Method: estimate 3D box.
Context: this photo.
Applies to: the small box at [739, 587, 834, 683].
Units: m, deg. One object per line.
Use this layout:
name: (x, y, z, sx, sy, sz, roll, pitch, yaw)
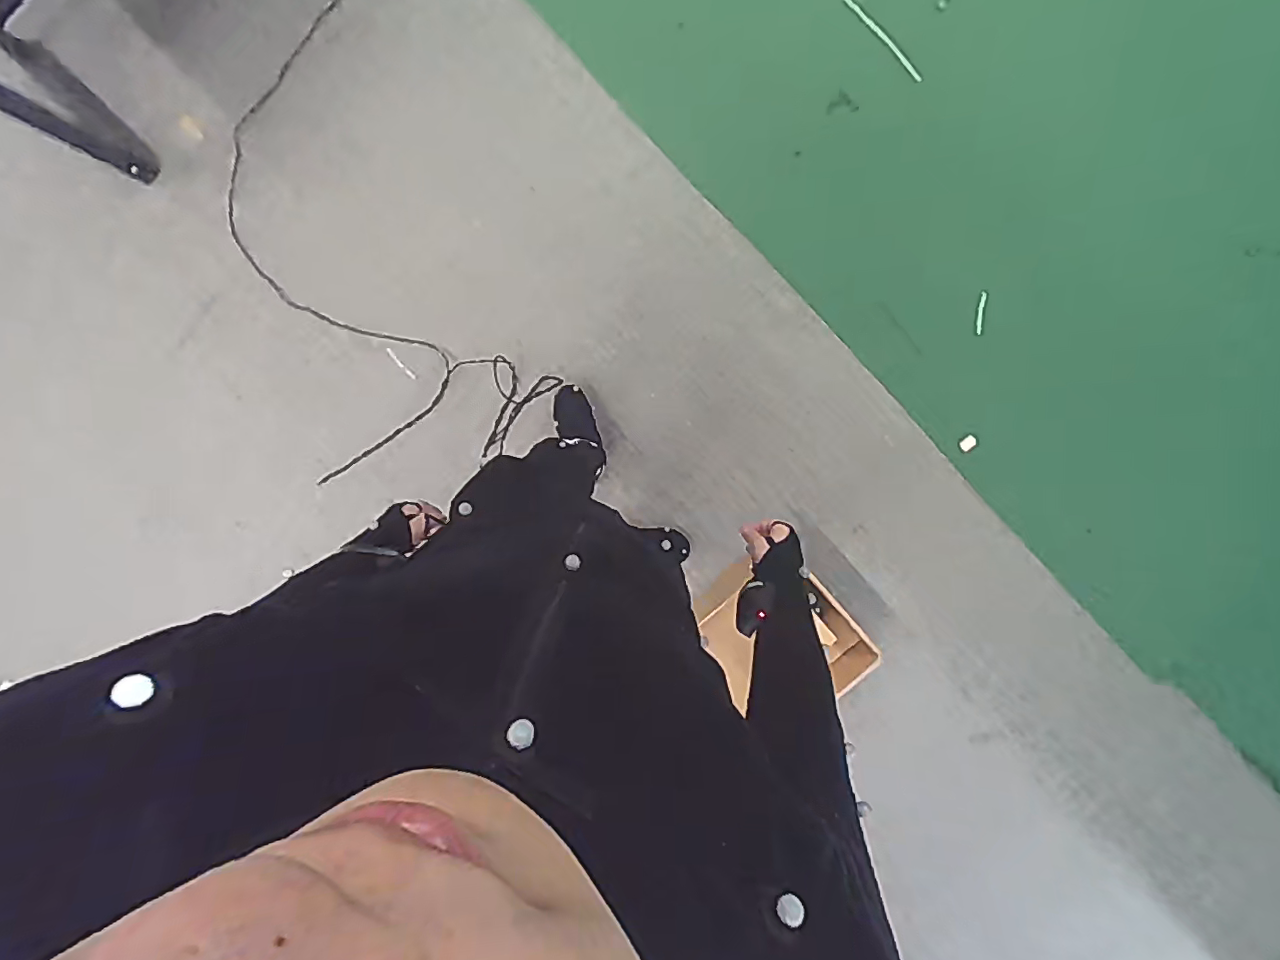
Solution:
small box: (0.395, 0.415, 1.491, 0.168, 0.176, 0.179, -41, 91, 4)
